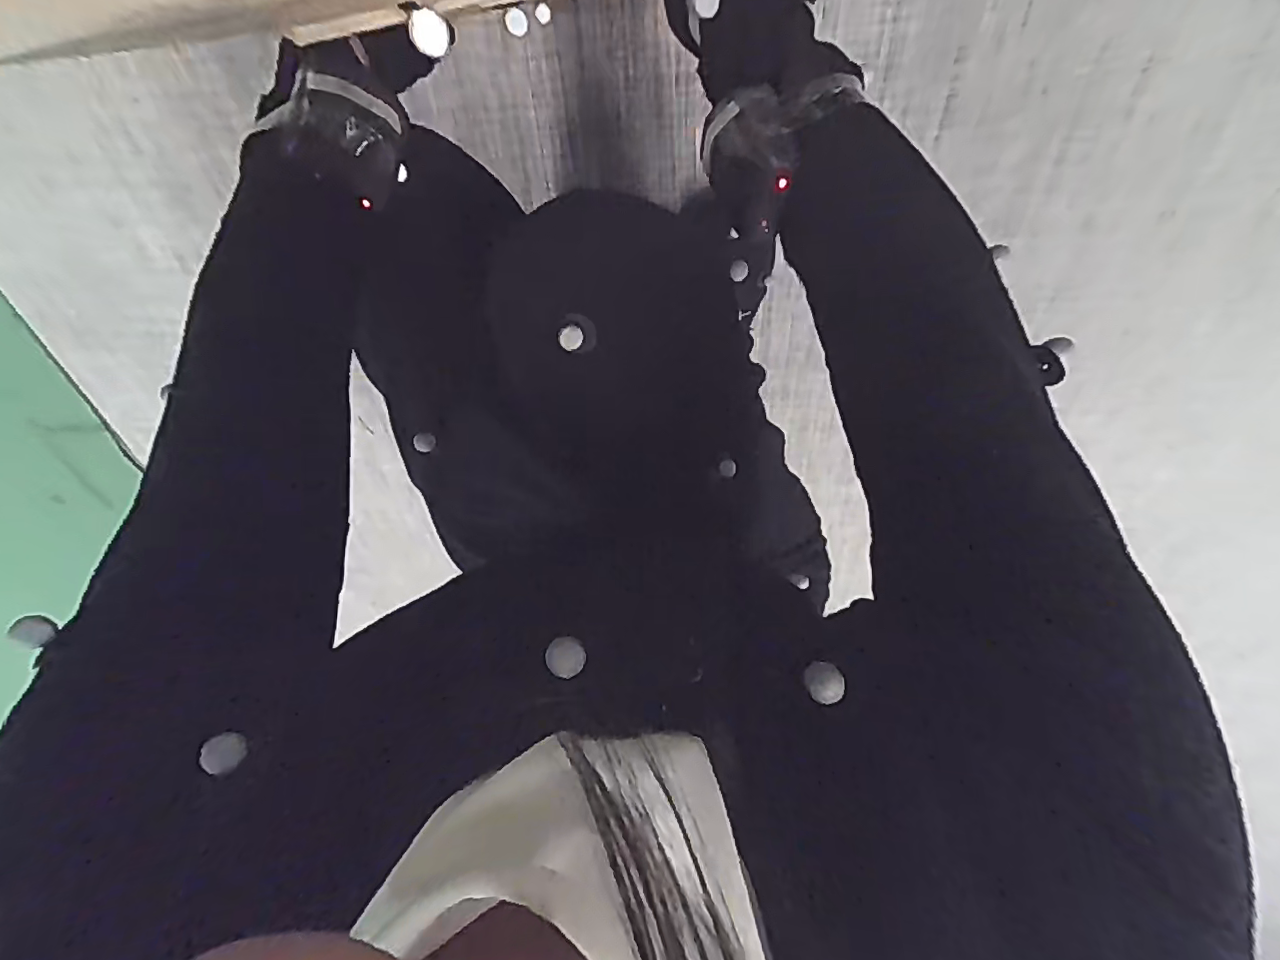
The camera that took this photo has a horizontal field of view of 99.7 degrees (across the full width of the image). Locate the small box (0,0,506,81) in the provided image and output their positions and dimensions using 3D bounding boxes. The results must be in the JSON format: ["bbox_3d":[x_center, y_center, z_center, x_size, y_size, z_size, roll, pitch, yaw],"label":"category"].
[{"bbox_3d":[-0.107,-0.219,0.132,0.179,0.176,0.168,0,133,12],"label":"small box"}]
